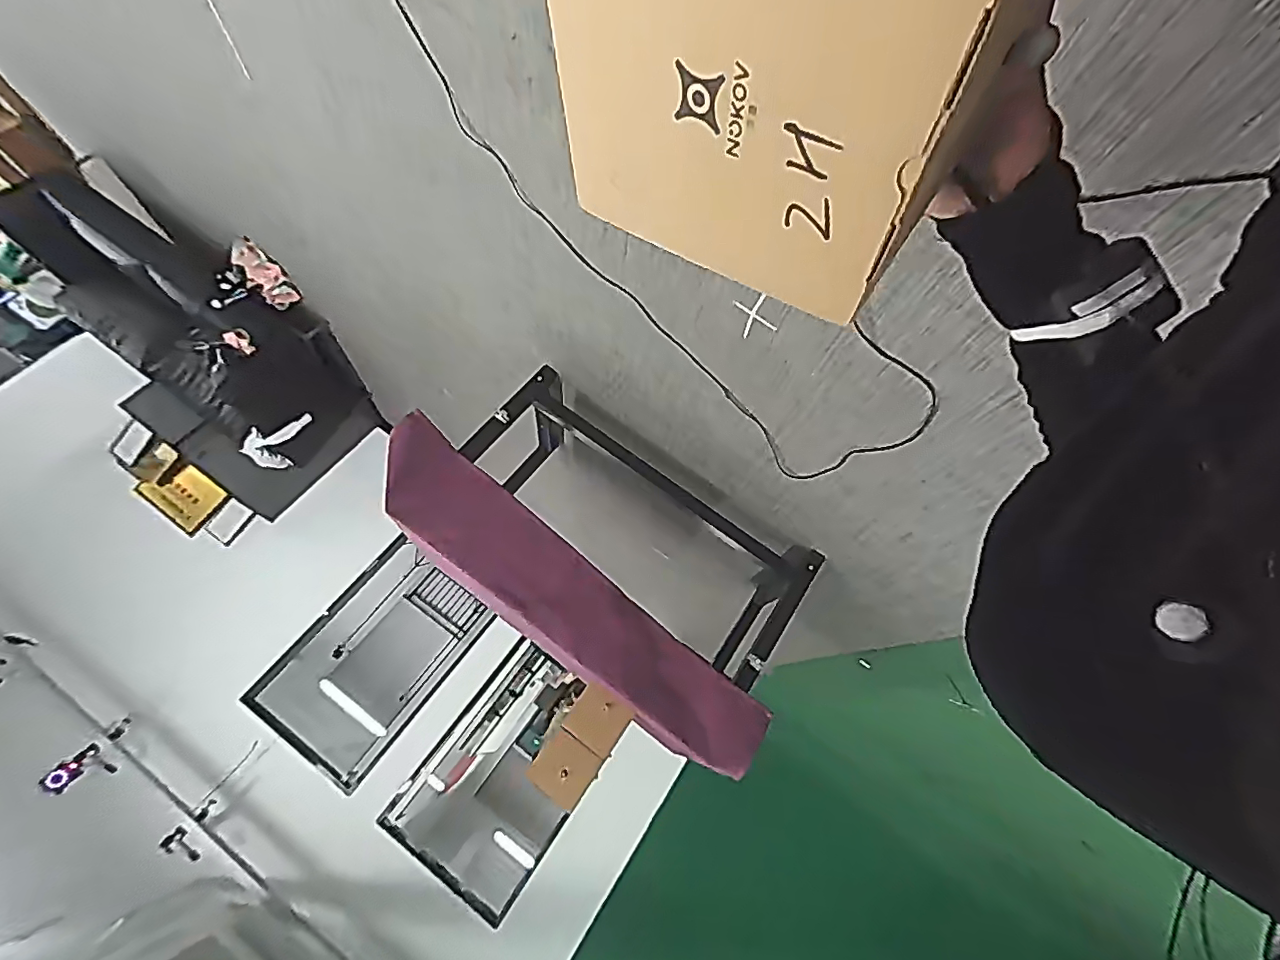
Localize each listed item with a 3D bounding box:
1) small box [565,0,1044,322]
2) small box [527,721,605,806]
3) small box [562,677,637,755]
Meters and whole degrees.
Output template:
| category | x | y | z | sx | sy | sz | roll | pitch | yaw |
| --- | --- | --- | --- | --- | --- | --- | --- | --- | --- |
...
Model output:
| category | x | y | z | sx | sy | sz | roll | pitch | yaw |
| --- | --- | --- | --- | --- | --- | --- | --- | --- | --- |
| small box | 0.083 | -0.220 | 0.265 | 0.179 | 0.176 | 0.168 | 31 | 160 | 15 |
| small box | -0.229 | 0.876 | 1.691 | 0.179 | 0.176 | 0.168 | 34 | 157 | 9 |
| small box | -0.133 | 0.758 | 1.754 | 0.179 | 0.176 | 0.168 | 35 | 157 | 10 |
